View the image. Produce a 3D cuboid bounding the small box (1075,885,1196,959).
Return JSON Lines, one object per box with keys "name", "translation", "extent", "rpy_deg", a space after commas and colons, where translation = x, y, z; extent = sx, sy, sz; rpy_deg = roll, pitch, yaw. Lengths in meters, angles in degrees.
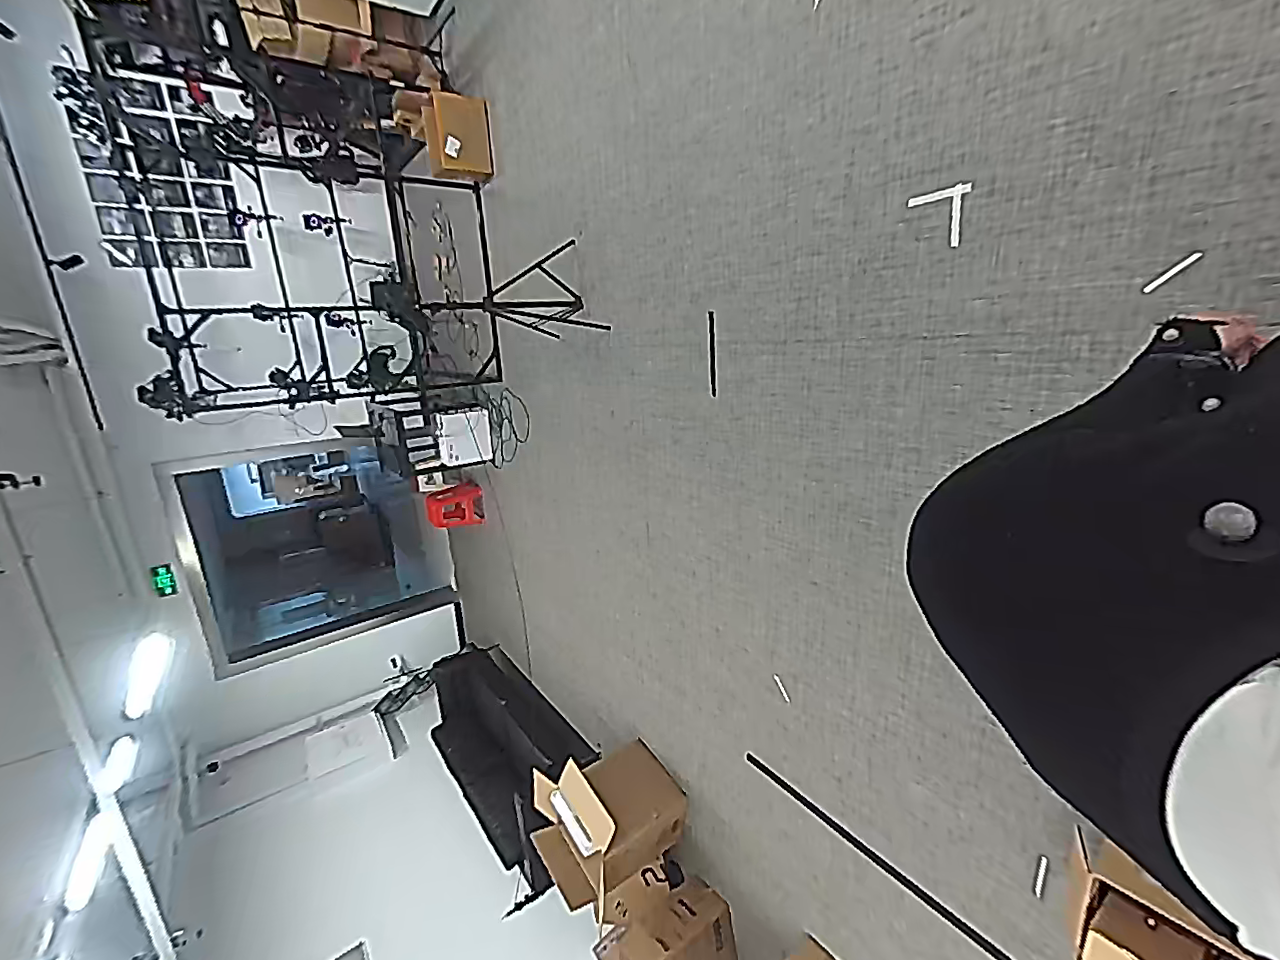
{"name": "small box", "translation": [1.144, 1.109, 1.254], "extent": [0.168, 0.176, 0.179], "rpy_deg": [19, 117, 51]}
